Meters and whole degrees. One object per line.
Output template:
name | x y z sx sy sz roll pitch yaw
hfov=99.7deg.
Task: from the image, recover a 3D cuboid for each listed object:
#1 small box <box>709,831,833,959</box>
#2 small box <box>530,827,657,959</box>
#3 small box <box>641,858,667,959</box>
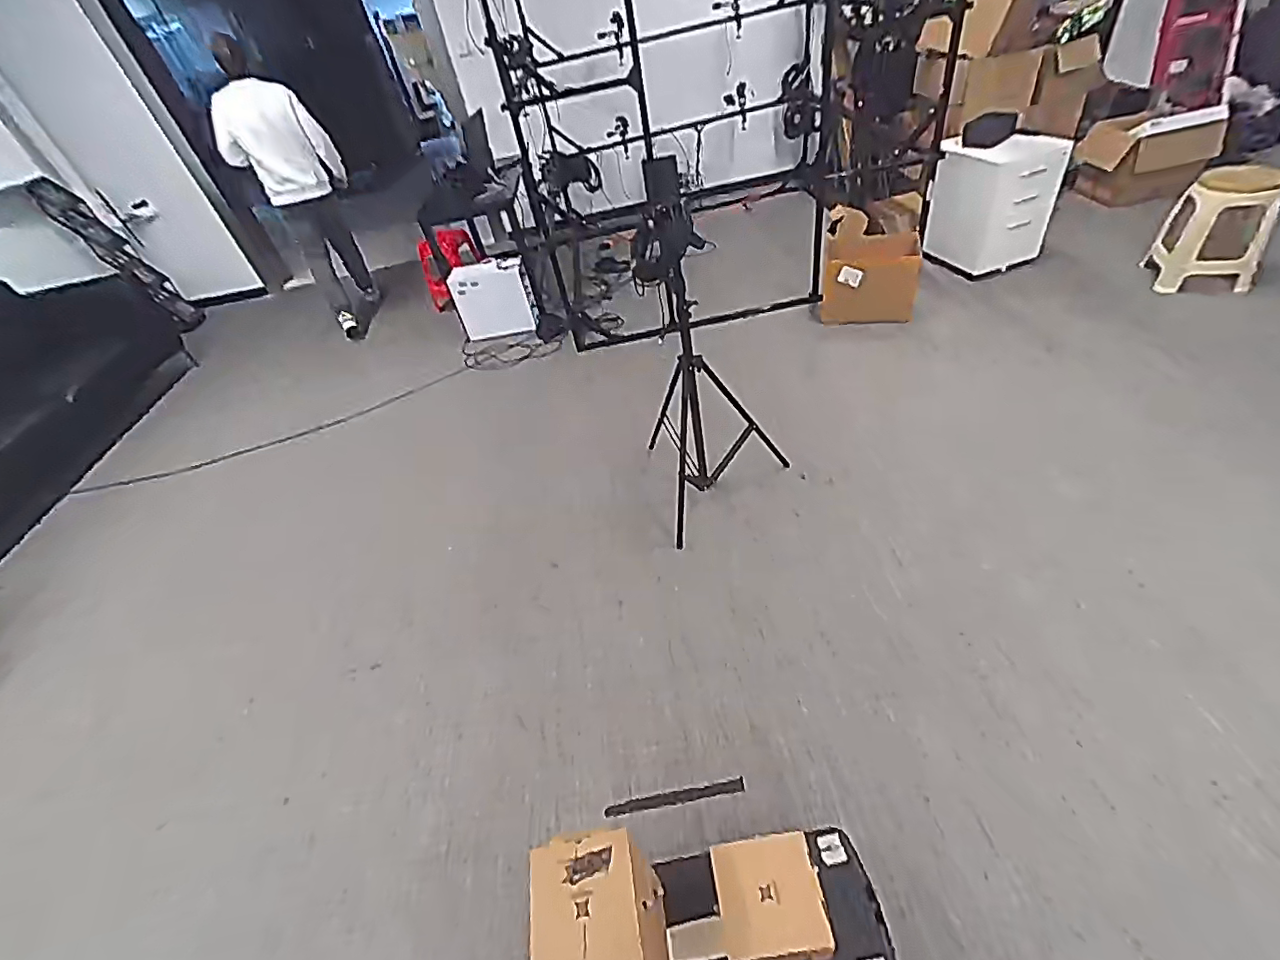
small box | 0.232 0.764 0.978 0.179 0.176 0.168 -13 41 3
small box | -0.074 0.700 0.875 0.168 0.176 0.179 -13 42 0
small box | -0.044 0.822 0.980 0.168 0.176 0.179 -12 42 1
